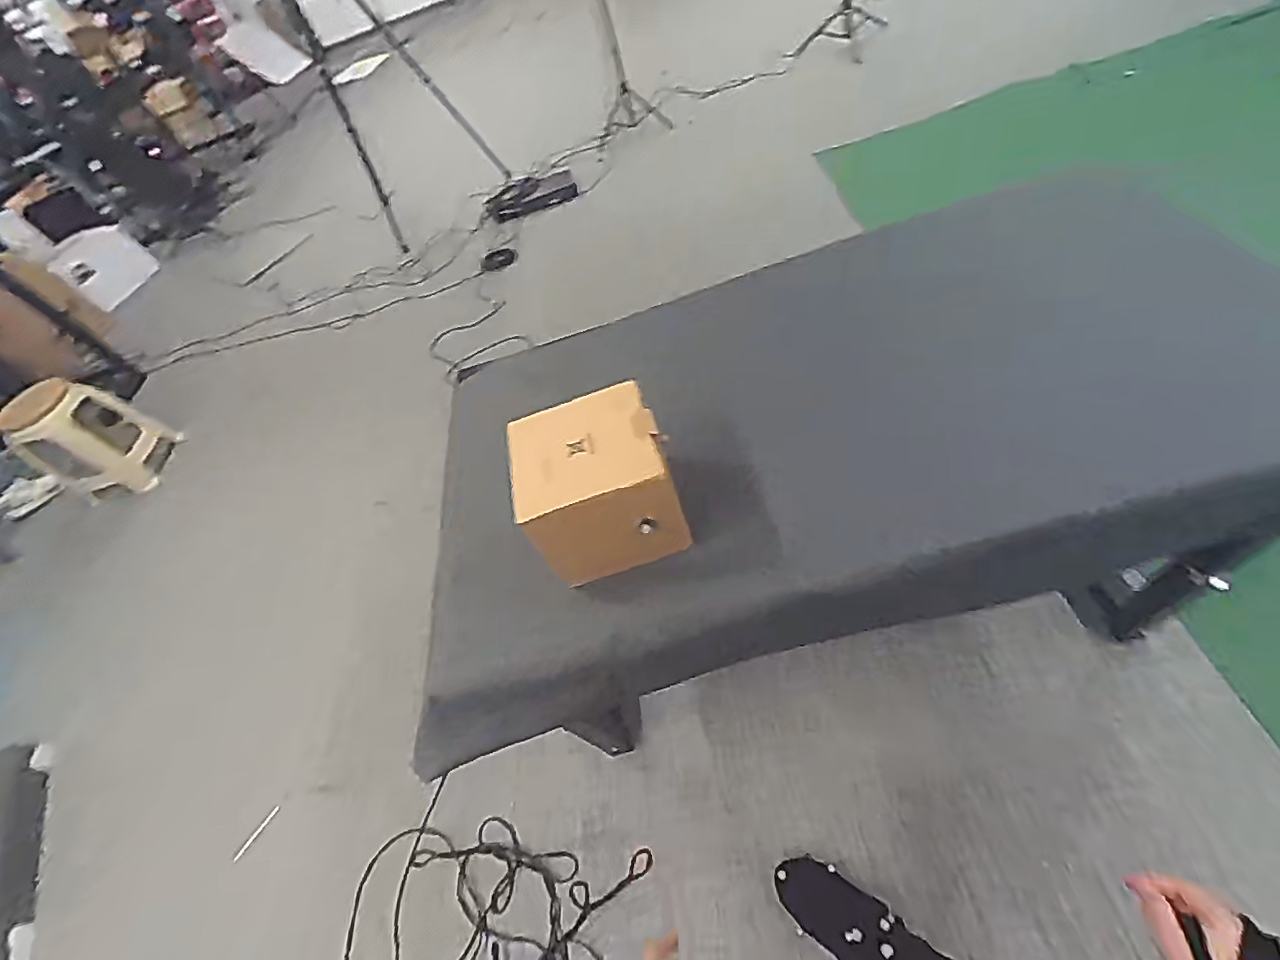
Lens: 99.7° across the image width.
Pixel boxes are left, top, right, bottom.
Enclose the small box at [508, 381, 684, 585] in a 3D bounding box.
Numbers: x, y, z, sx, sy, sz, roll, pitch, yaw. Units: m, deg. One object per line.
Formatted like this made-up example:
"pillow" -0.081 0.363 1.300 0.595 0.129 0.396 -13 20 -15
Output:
"small box" -0.050 0.009 0.697 0.179 0.176 0.168 -20 50 4
